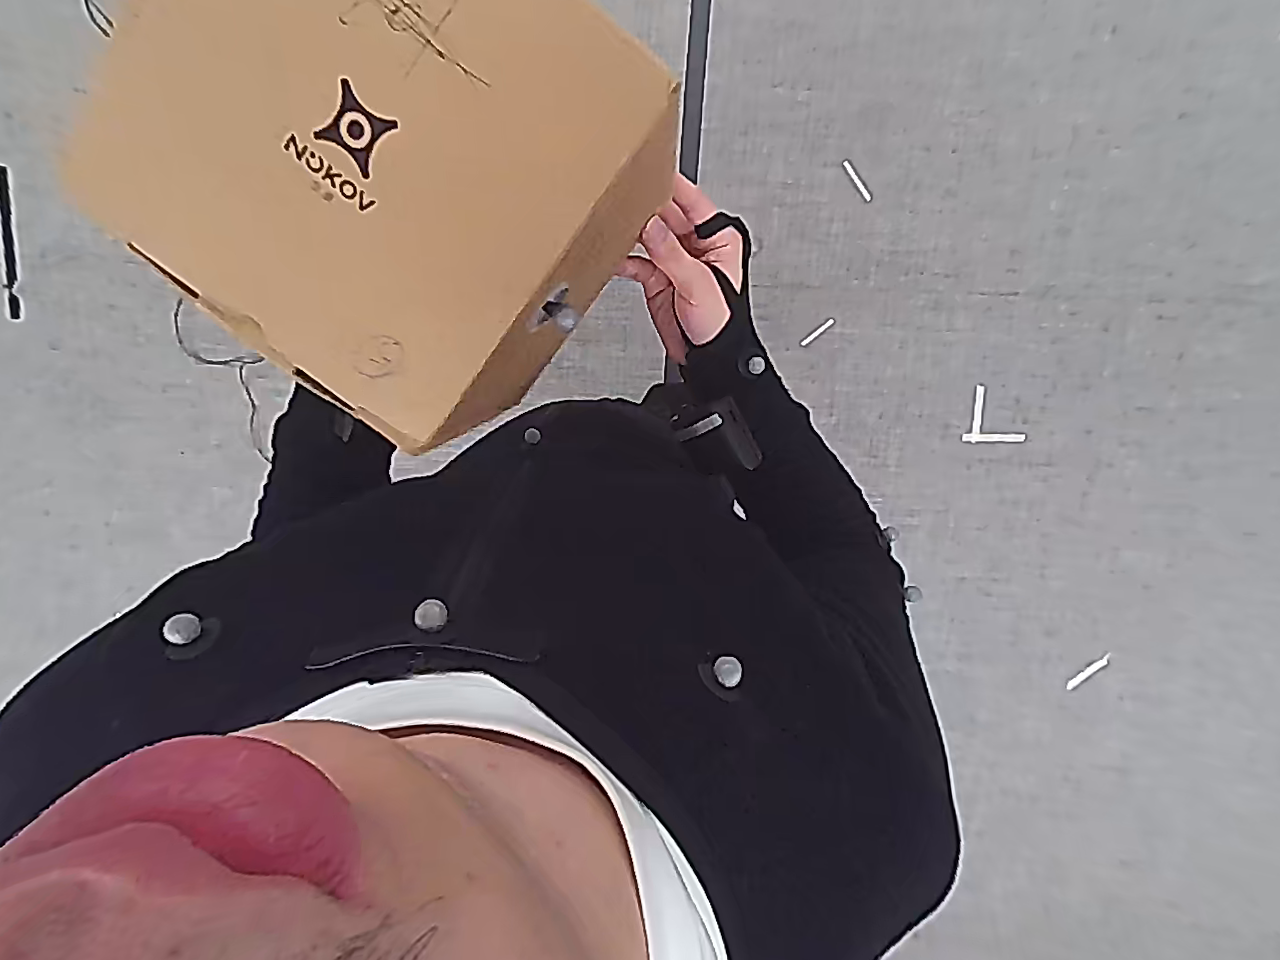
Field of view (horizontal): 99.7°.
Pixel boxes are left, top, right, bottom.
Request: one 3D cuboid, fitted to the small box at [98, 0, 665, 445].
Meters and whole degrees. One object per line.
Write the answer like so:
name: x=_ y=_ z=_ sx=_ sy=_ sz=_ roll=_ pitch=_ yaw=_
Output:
small box: x=-0.099 y=-0.148 z=0.284 sx=0.168 sy=0.176 sz=0.179 roll=36 pitch=104 yaw=-8
